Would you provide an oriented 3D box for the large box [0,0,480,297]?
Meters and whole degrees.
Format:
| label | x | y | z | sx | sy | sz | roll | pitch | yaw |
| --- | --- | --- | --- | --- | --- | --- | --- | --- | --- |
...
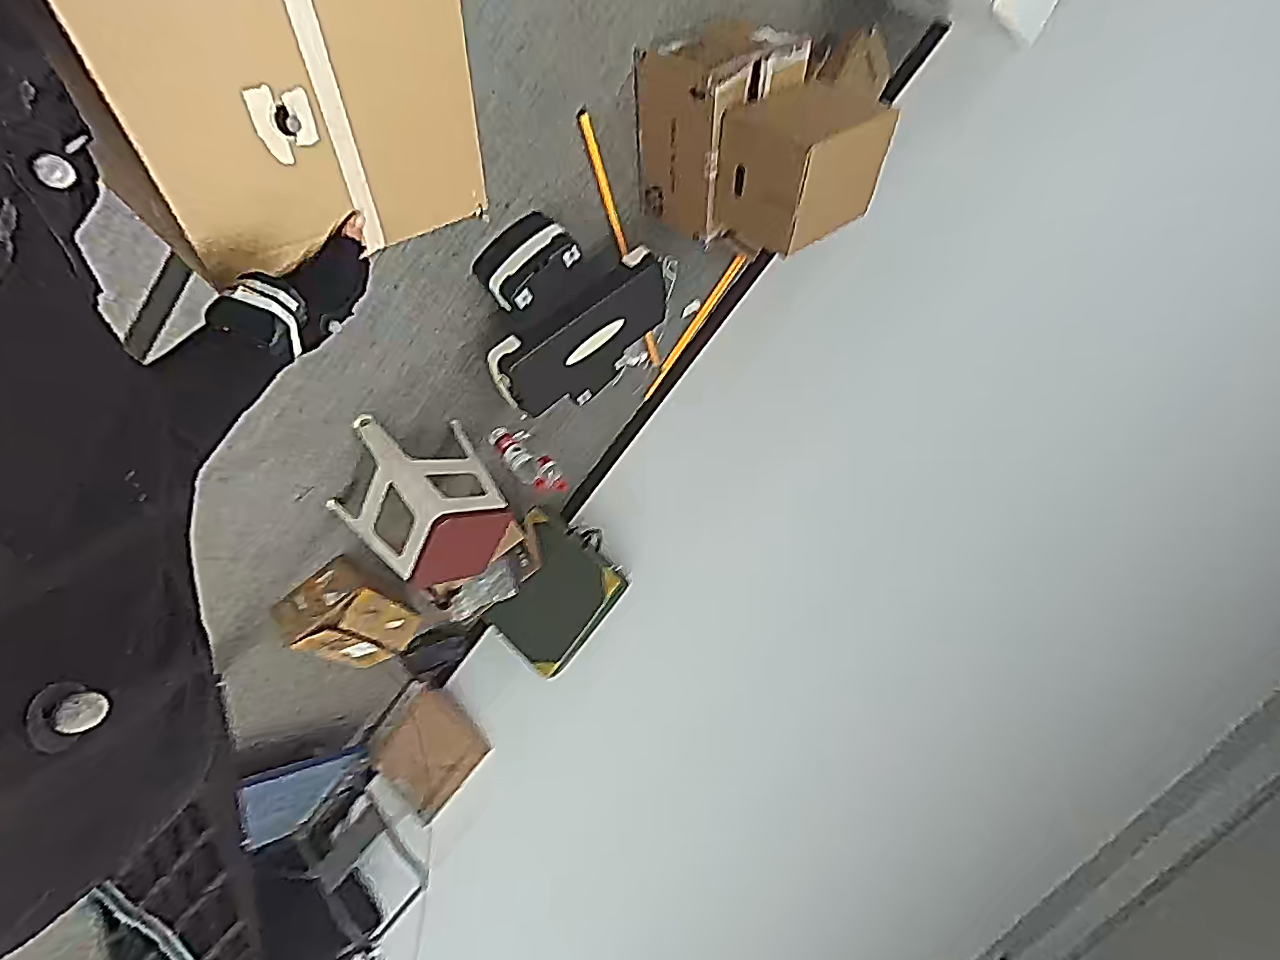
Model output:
| label | x | y | z | sx | sy | sz | roll | pitch | yaw |
| --- | --- | --- | --- | --- | --- | --- | --- | --- | --- |
| large box | -0.398 | -0.465 | 0.501 | 0.320 | 0.320 | 0.408 | -40 | 155 | -30 |
